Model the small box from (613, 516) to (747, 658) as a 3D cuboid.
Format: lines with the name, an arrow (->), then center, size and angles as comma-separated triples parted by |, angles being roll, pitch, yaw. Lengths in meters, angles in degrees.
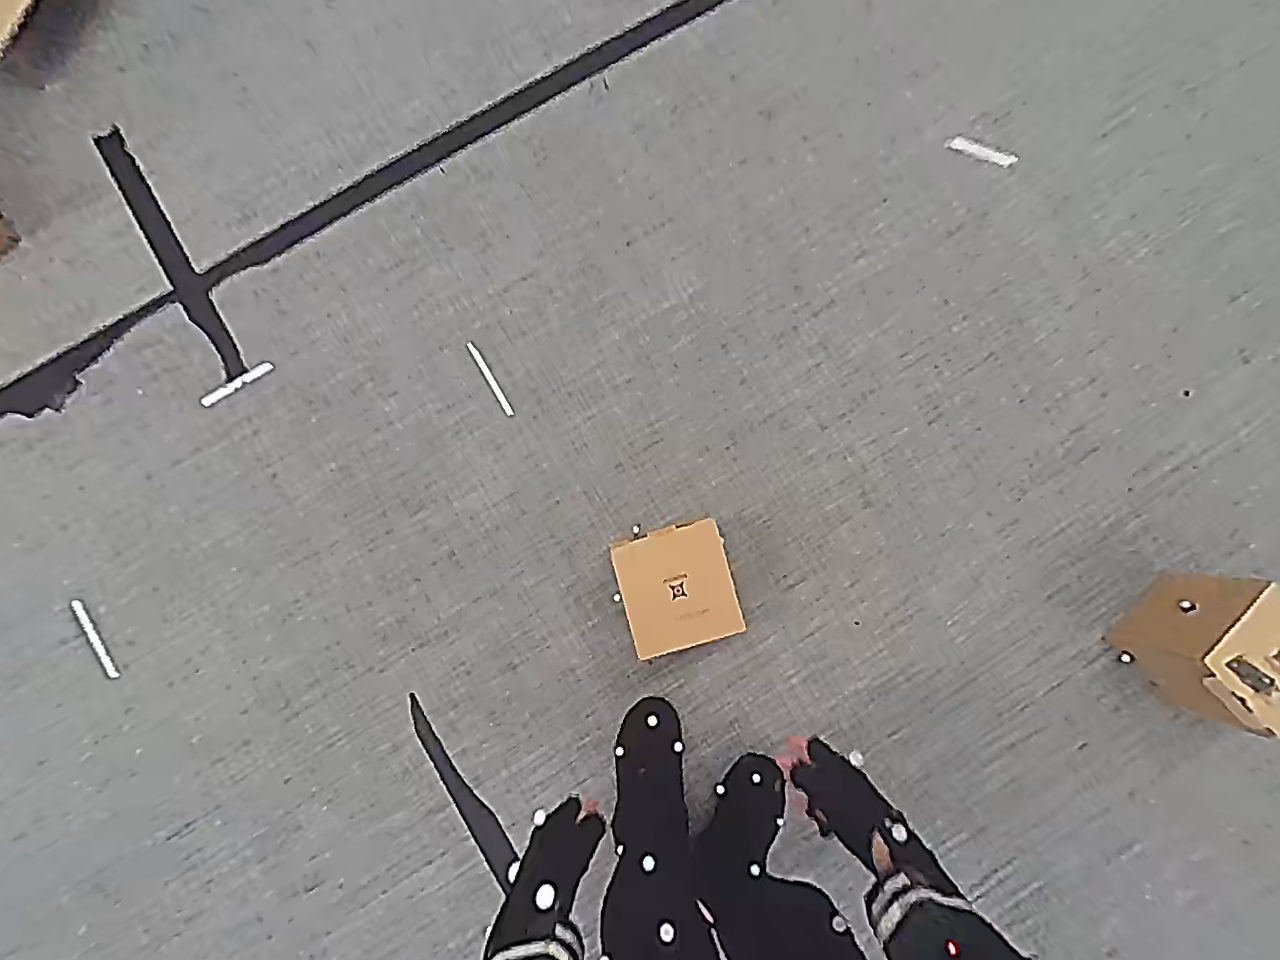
small box -> 0.057, 0.164, 0.876 | 0.168, 0.176, 0.179 | -16, 87, -1

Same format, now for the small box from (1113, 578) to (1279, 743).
small box -> 0.940, 0.281, 0.885 | 0.179, 0.176, 0.168 | -43, 87, -5
